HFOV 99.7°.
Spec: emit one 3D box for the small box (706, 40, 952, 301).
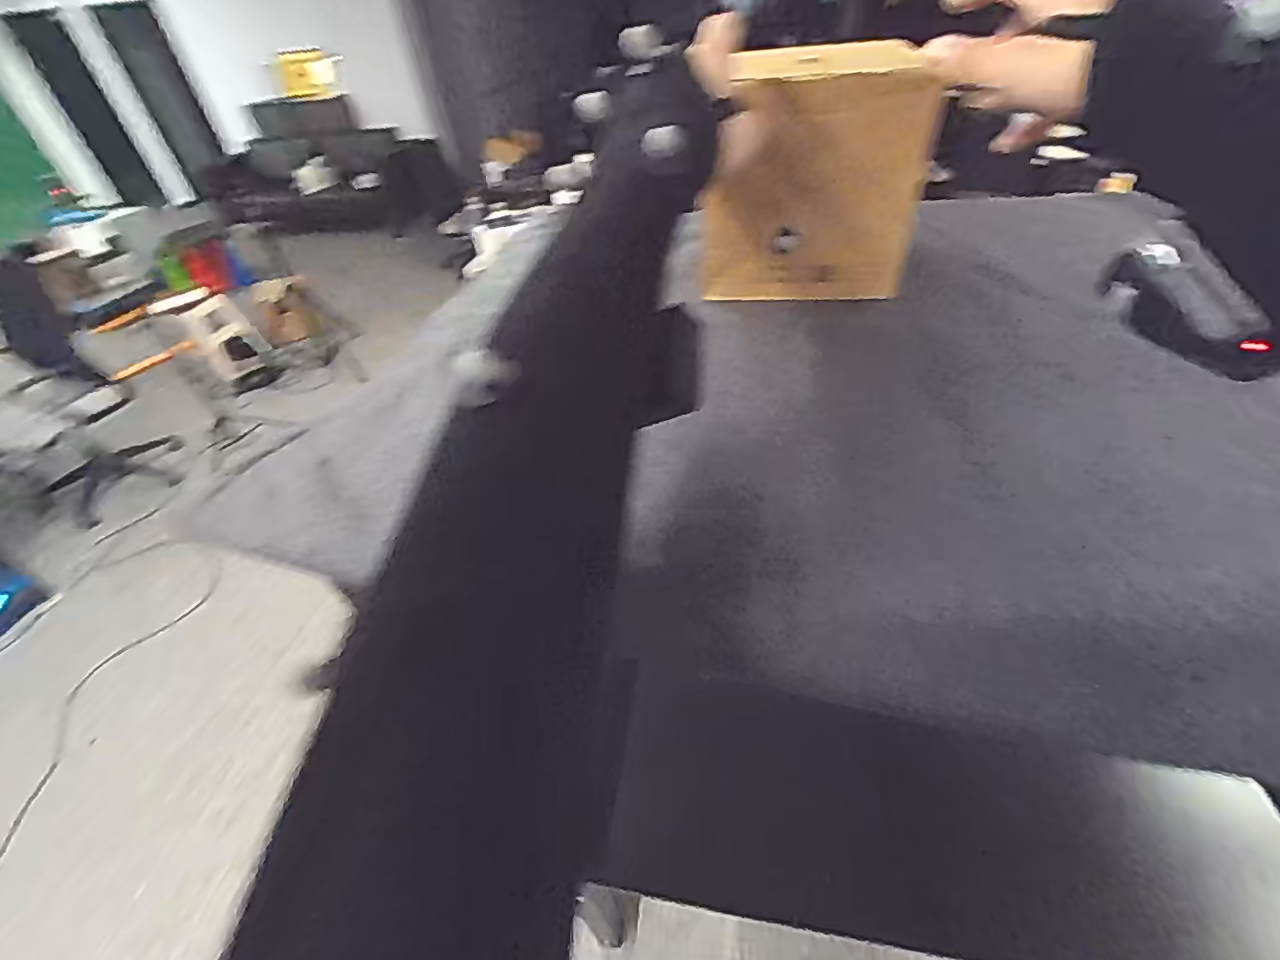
[{"bbox_3d":[0.148,-0.278,0.488,0.168,0.176,0.179,2,44,9],"label":"small box"}]
